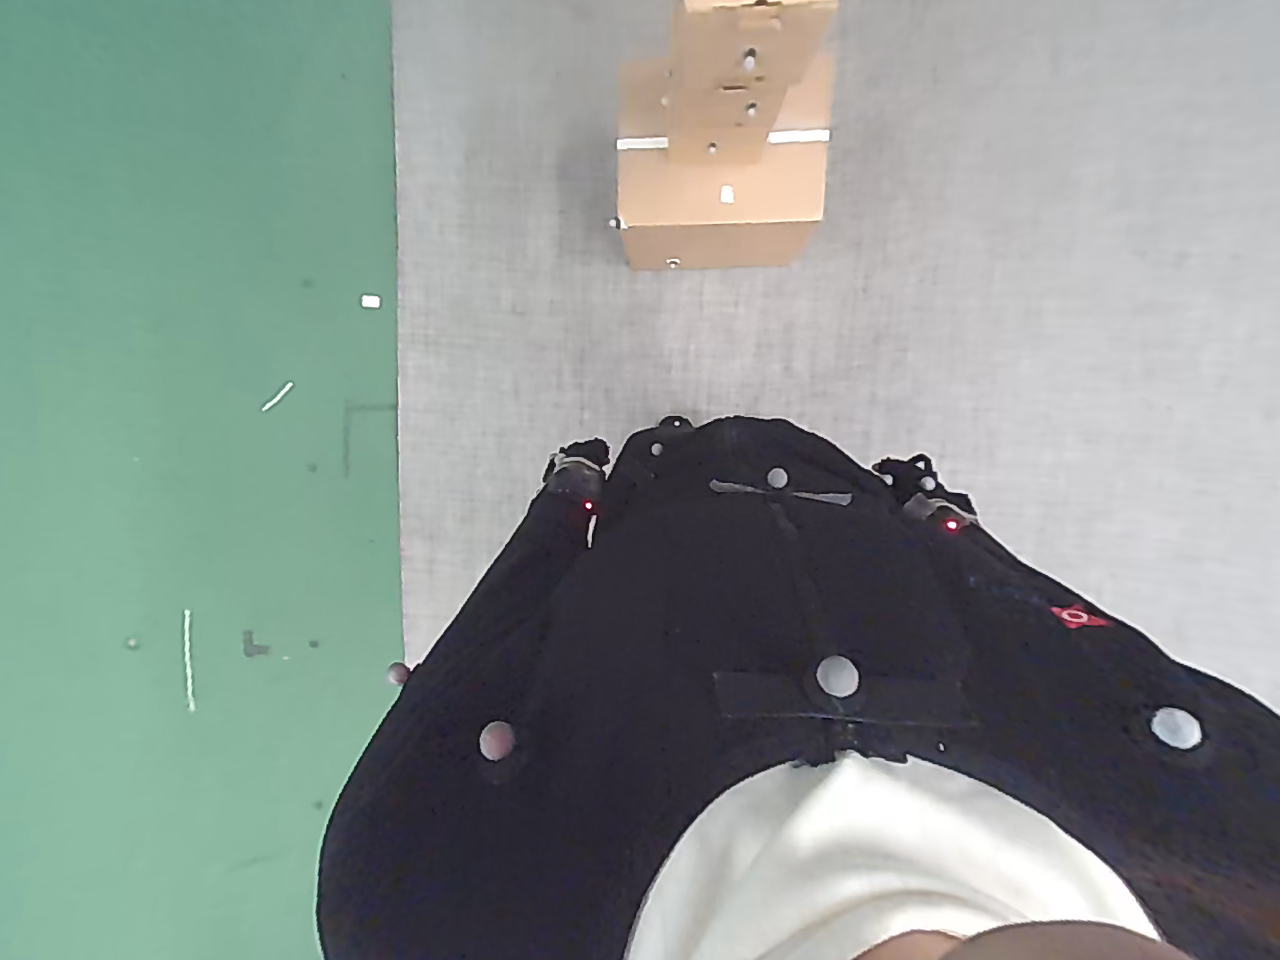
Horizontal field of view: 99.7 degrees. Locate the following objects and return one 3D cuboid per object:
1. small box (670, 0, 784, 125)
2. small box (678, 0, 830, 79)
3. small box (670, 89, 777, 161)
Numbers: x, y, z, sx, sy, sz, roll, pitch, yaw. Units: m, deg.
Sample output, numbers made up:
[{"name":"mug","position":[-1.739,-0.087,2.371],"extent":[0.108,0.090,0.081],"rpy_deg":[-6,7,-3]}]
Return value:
[{"name":"small box","position":[0.129,-0.650,0.800],"extent":[0.168,0.176,0.179],"rpy_deg":[1,101,3]},{"name":"small box","position":[0.131,-0.608,0.642],"extent":[0.168,0.176,0.179],"rpy_deg":[1,103,4]},{"name":"small box","position":[0.142,-0.684,0.958],"extent":[0.179,0.176,0.168],"rpy_deg":[0,103,4]}]
